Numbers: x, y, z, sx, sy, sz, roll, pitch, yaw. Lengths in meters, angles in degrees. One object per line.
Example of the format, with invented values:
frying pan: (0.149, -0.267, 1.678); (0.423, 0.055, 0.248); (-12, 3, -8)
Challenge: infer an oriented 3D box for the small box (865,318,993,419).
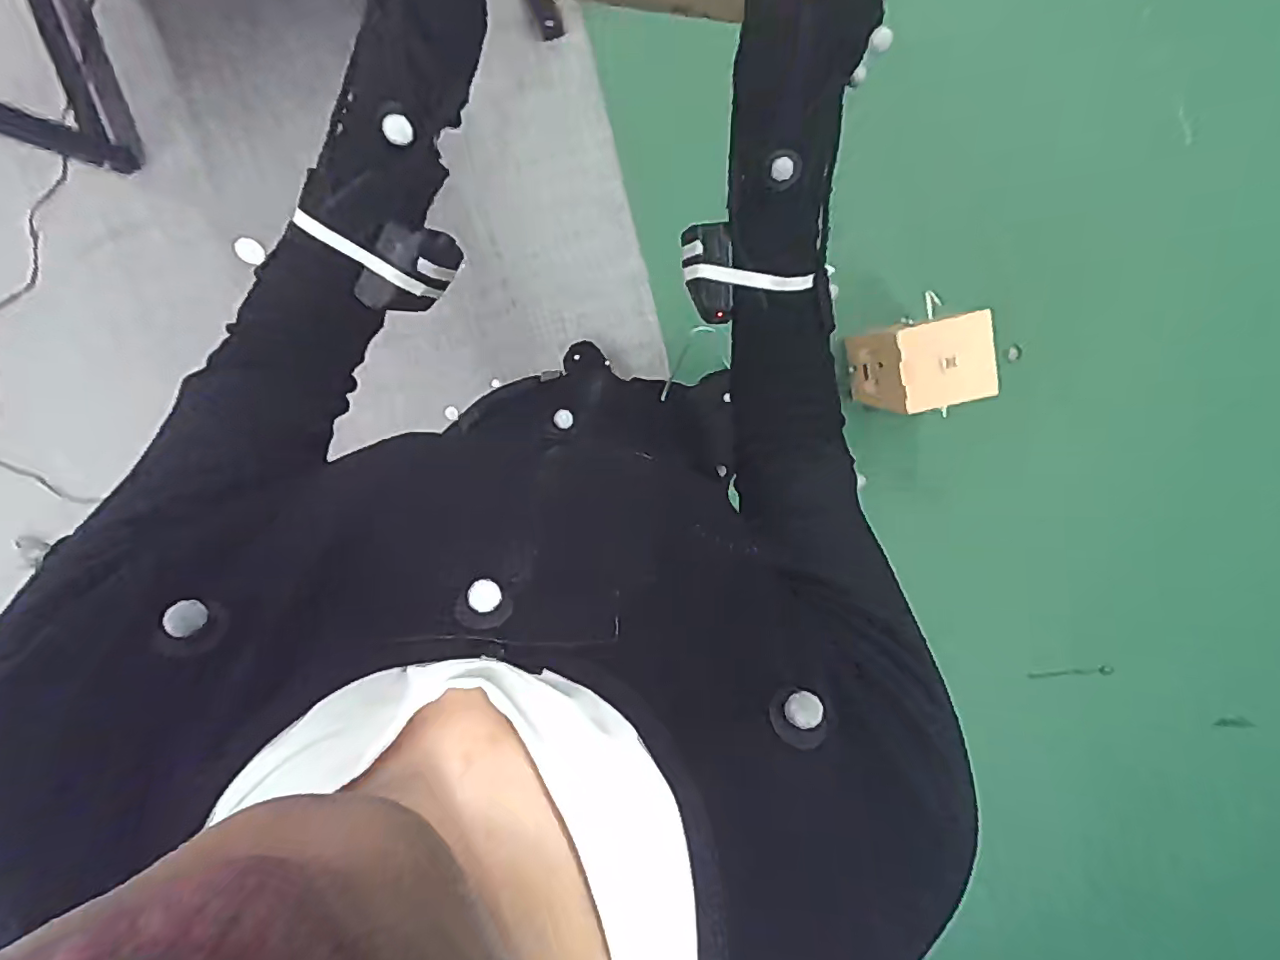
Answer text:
small box: (0.596, -0.235, 1.130); (0.179, 0.176, 0.168); (-12, 102, 7)

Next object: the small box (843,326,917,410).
small box: (0.605, -0.270, 1.289); (0.179, 0.176, 0.168); (-11, 102, 6)
